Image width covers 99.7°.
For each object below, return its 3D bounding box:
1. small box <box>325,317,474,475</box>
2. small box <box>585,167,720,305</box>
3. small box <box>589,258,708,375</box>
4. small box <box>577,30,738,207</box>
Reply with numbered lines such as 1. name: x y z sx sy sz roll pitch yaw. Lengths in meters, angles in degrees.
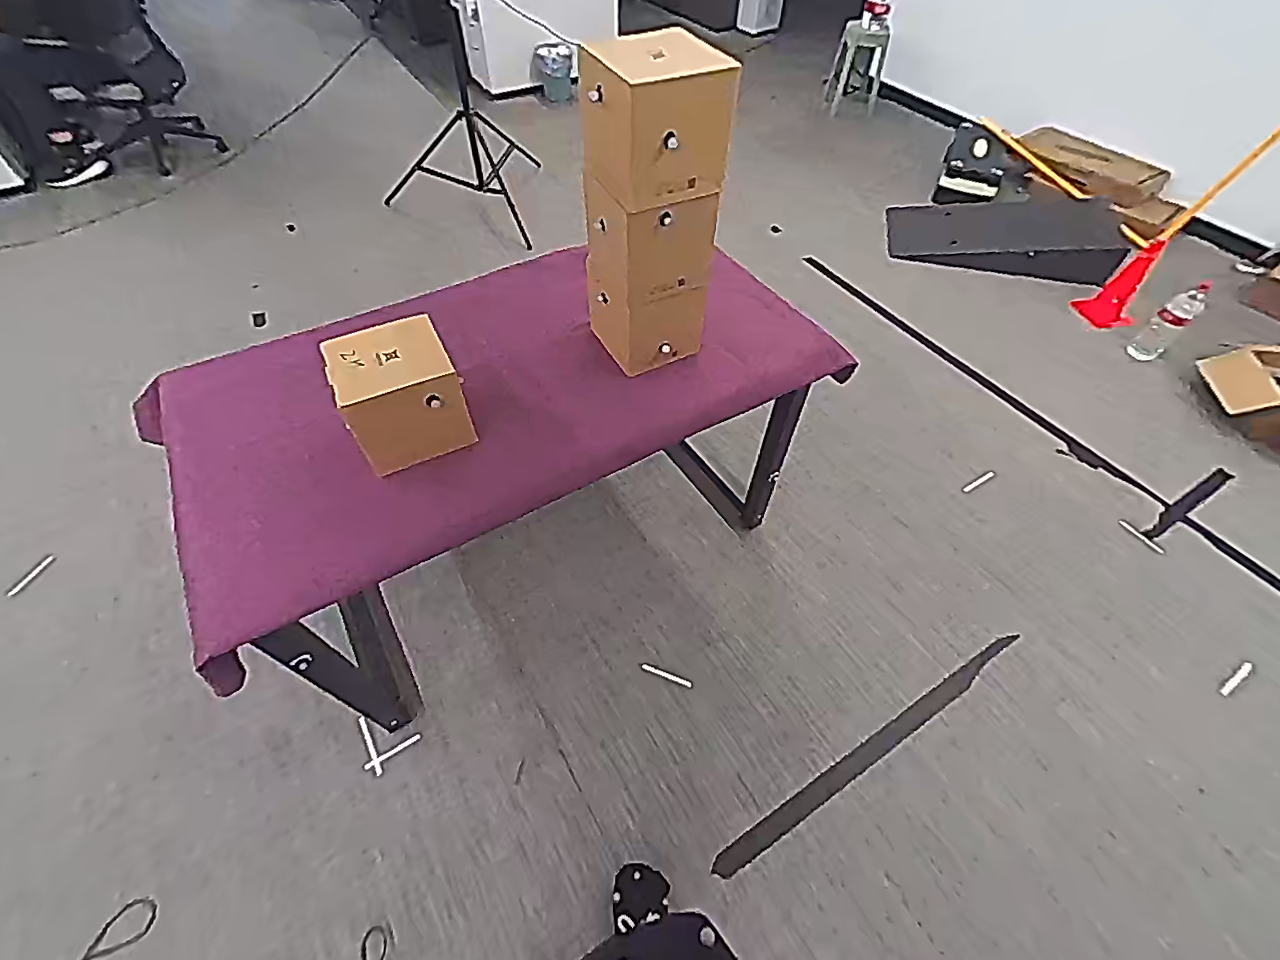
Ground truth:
1. small box: -0.394 -0.140 0.912 0.179 0.176 0.168 -23 56 -17
2. small box: 0.016 -0.433 0.934 0.168 0.176 0.179 -22 56 -16
3. small box: 0.011 -0.339 1.068 0.168 0.176 0.179 -24 58 -17
4. small box: 0.022 -0.526 0.799 0.168 0.176 0.179 -22 57 -16
